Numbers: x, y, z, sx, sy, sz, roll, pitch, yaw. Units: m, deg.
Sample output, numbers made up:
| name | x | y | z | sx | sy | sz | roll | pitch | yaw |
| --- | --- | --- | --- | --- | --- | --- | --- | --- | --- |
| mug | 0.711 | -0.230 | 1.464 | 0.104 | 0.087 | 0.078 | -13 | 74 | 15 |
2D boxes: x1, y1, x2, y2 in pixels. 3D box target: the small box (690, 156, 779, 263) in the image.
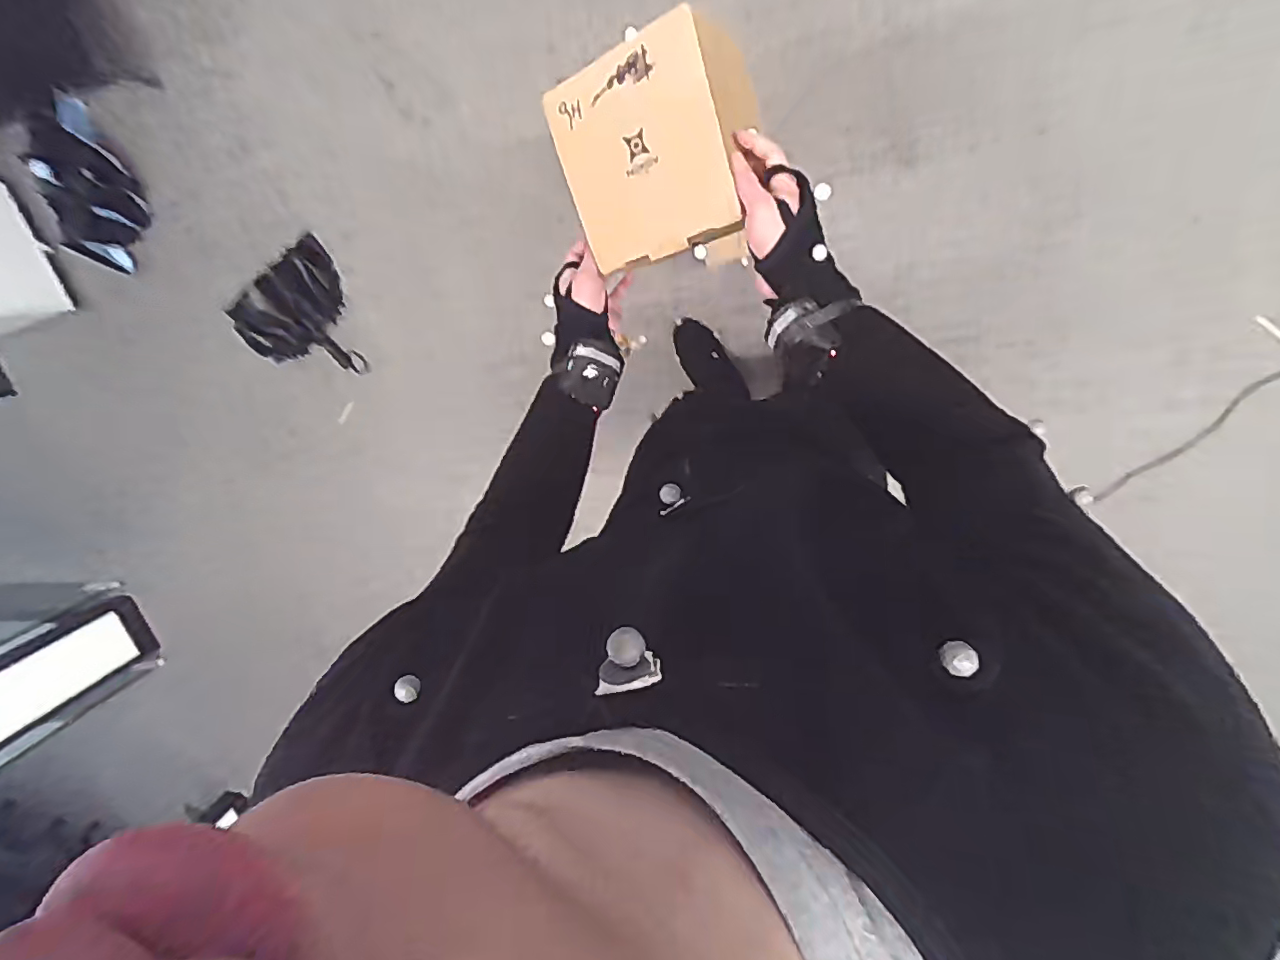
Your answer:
| name | x | y | z | sx | sy | sz | roll | pitch | yaw |
| --- | --- | --- | --- | --- | --- | --- | --- | --- | --- |
| small box | 0.219 | -0.604 | 1.230 | 0.168 | 0.176 | 0.179 | -9 | 111 | 19 |
